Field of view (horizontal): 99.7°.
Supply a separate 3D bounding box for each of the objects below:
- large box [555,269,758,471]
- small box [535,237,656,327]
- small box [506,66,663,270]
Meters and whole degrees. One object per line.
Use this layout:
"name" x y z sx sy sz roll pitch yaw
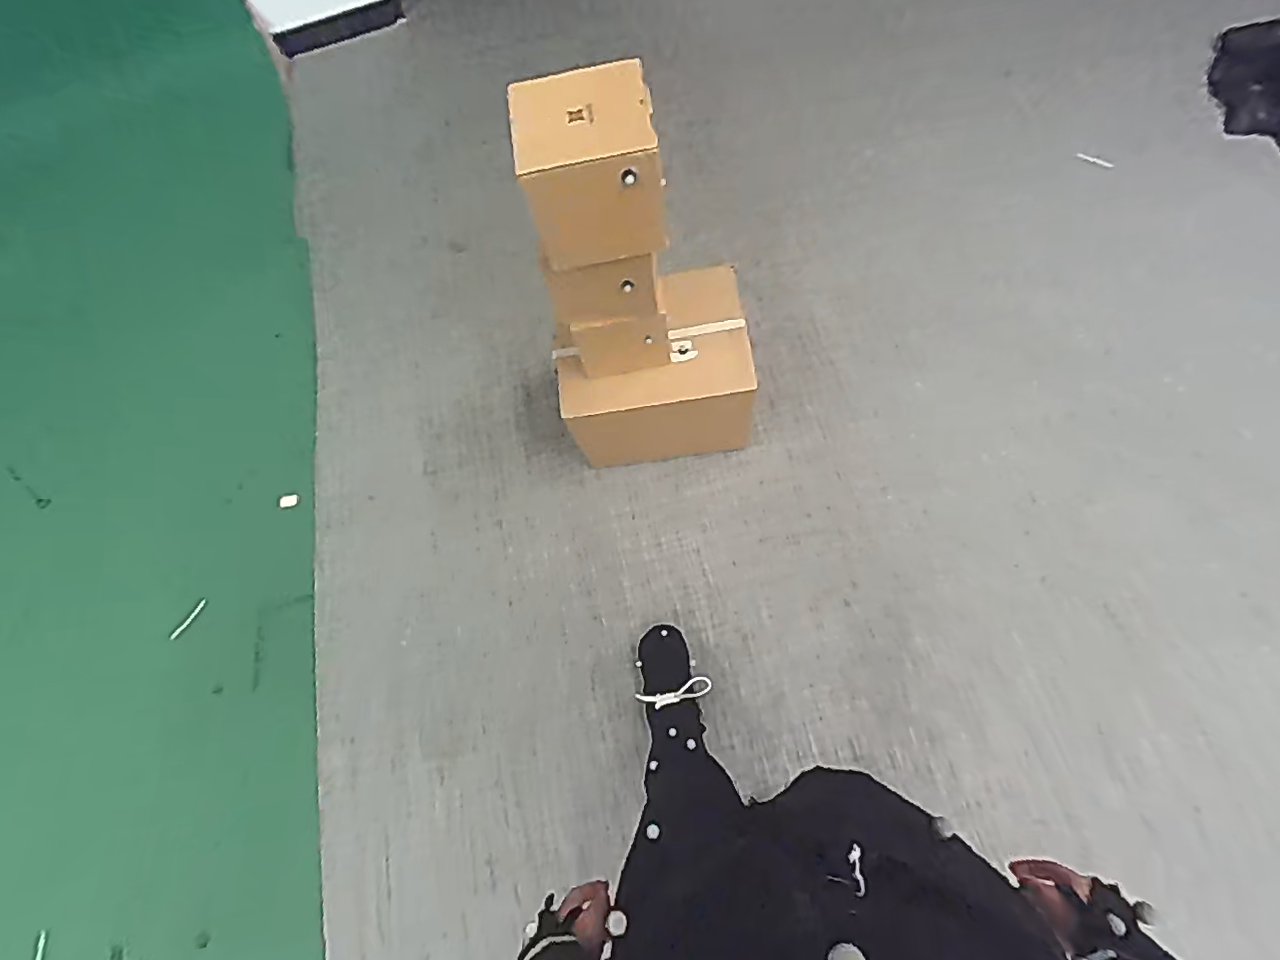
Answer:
"large box" 0.038 -0.241 1.282 0.408 0.320 0.320 -9 71 4
"small box" -0.066 -0.380 0.911 0.179 0.176 0.168 -5 69 7
"small box" -0.071 -0.420 0.751 0.179 0.176 0.168 -11 68 3
